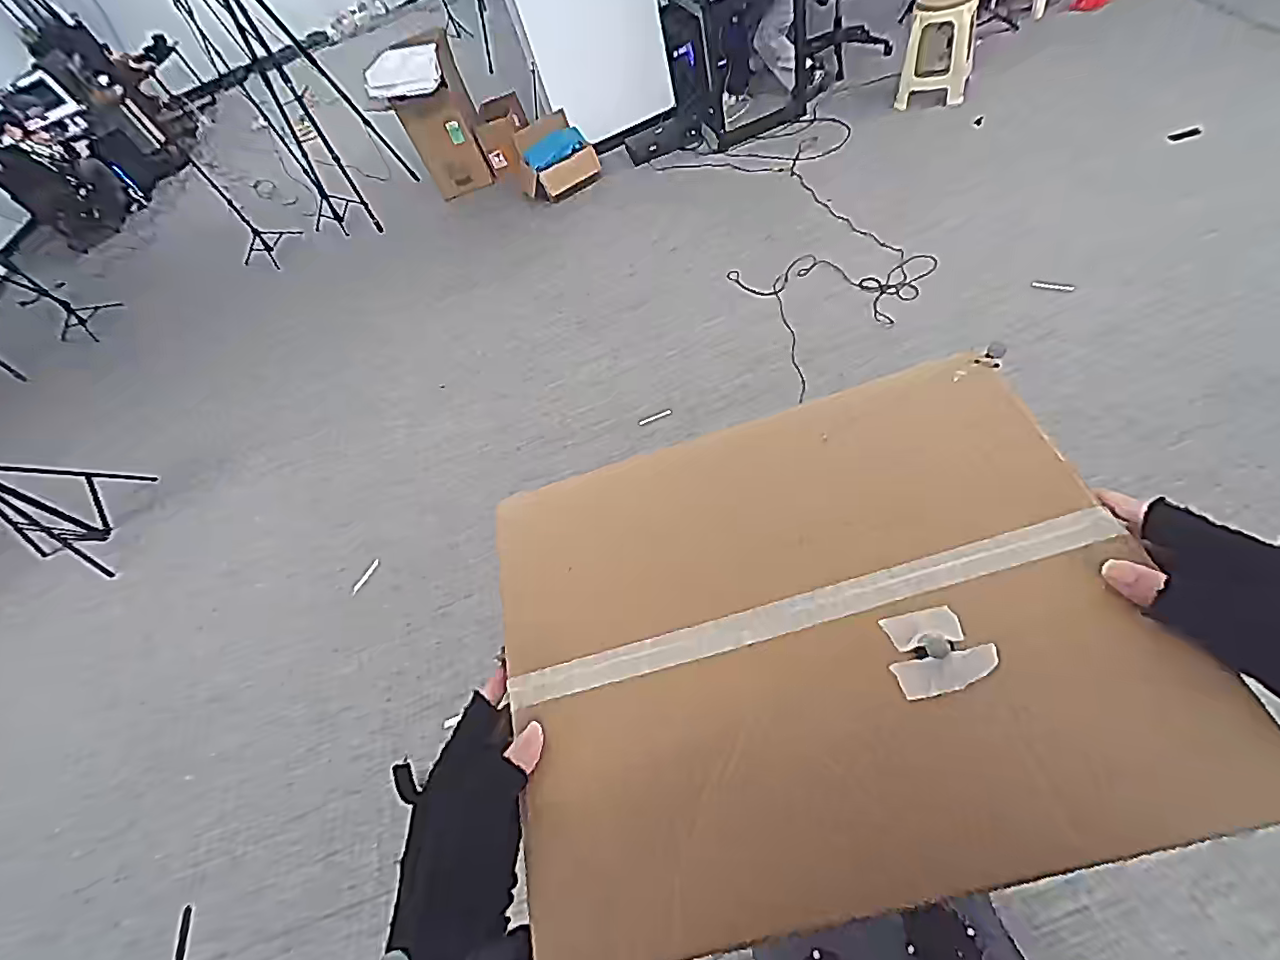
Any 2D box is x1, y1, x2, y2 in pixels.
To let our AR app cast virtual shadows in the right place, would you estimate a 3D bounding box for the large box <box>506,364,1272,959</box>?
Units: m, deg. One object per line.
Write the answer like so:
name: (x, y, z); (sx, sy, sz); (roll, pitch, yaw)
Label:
large box: (0.138, 0.163, 0.494); (0.408, 0.320, 0.320); (-18, 59, 4)
